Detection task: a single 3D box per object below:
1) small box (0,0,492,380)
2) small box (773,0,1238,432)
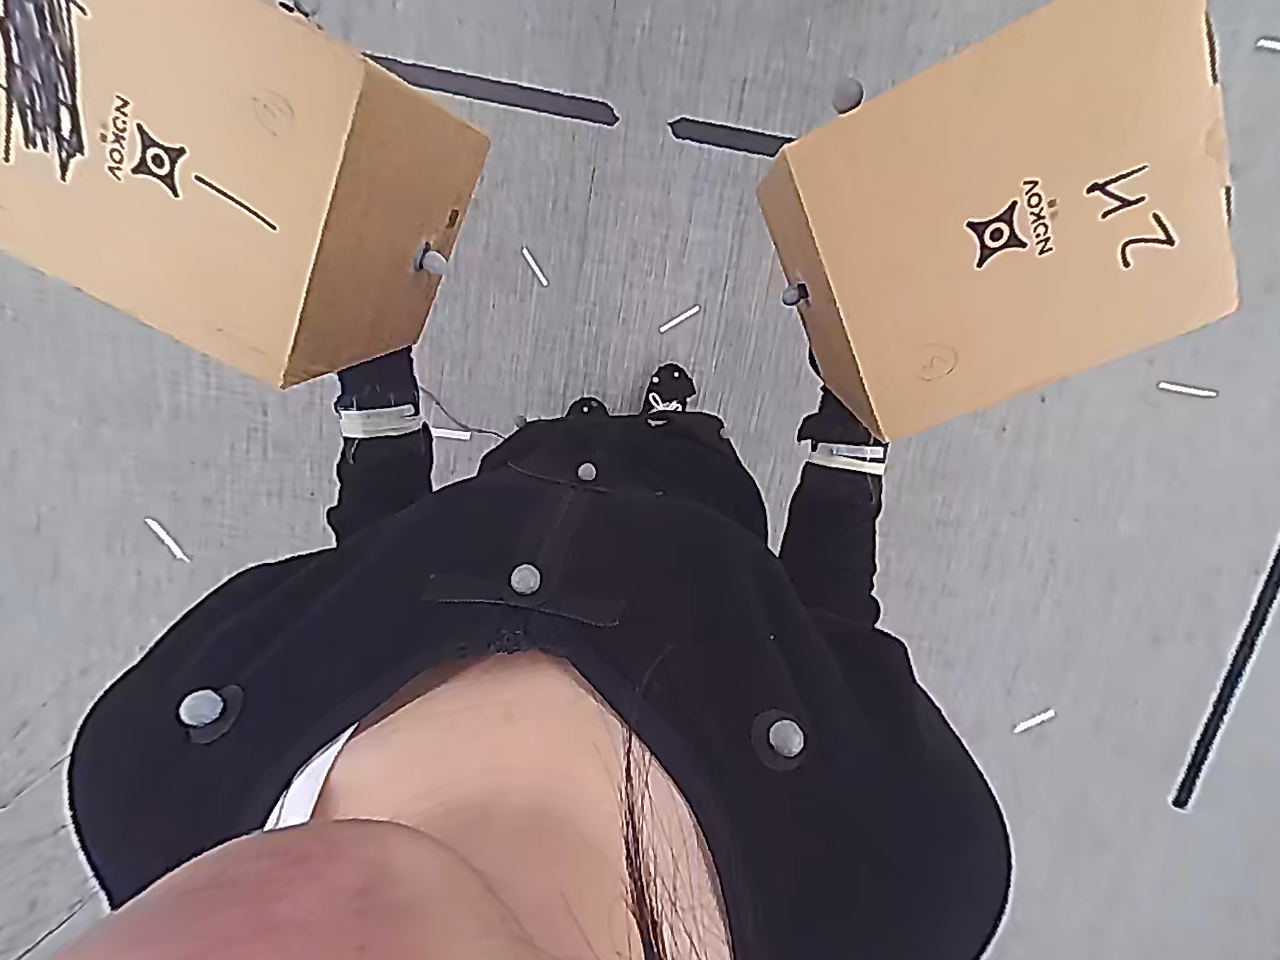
[{"bbox_3d":[-0.218,-0.186,0.325,0.179,0.176,0.168,28,112,-8],"label":"small box"},{"bbox_3d":[0.192,-0.154,0.339,0.179,0.176,0.168,-22,108,14],"label":"small box"}]
